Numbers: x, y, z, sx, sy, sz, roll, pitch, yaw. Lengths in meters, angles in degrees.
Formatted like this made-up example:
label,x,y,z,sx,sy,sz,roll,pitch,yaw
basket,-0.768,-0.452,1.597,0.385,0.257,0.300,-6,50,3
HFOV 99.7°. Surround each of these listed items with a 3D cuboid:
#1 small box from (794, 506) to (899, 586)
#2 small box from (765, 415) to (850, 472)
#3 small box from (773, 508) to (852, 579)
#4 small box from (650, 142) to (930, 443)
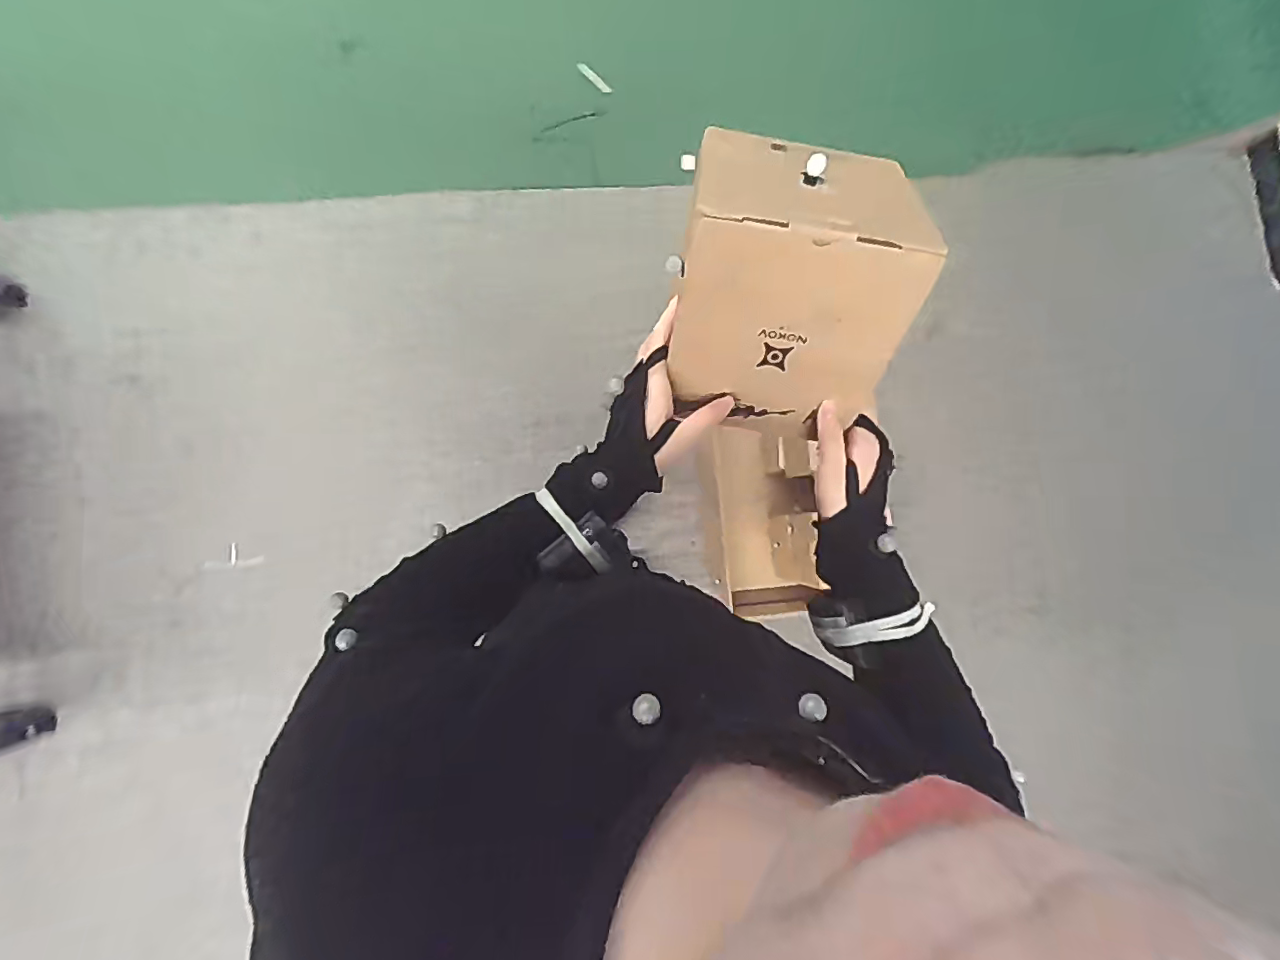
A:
label,x,y,z,sx,sy,sz,roll,pitch,yaw
small box,0.462,0.150,1.240,0.179,0.176,0.168,-4,86,-3
small box,0.432,-0.109,1.425,0.179,0.176,0.168,0,86,-4
small box,0.452,0.163,1.404,0.179,0.176,0.168,-4,86,-3
small box,0.106,-0.161,0.462,0.168,0.179,0.176,9,48,0
